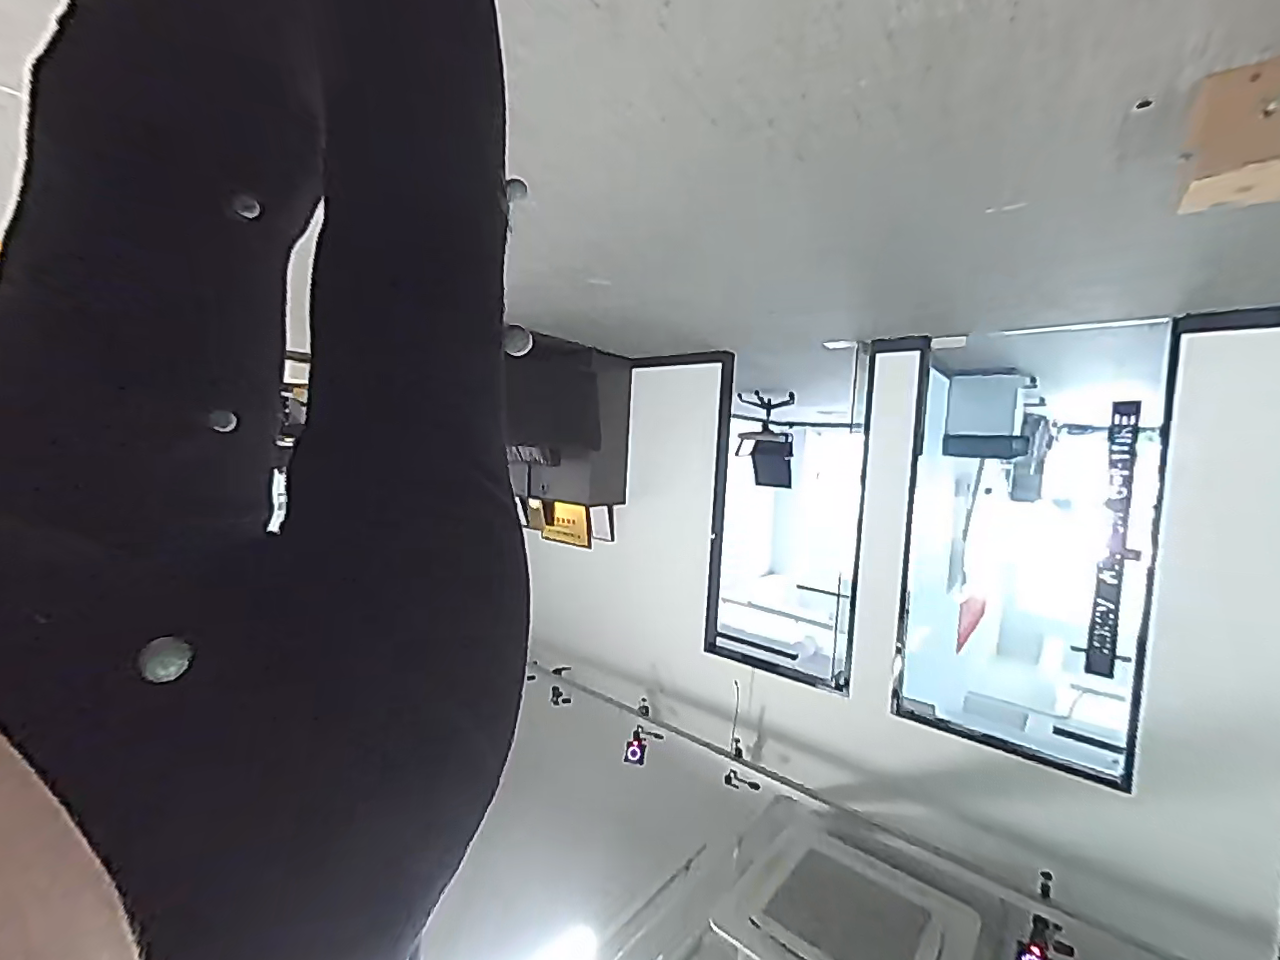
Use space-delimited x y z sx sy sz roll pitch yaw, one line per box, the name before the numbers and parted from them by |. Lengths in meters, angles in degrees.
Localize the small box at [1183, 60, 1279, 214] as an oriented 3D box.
small box | 1.063 -0.588 0.921 0.168 0.176 0.179 6 -176 37
